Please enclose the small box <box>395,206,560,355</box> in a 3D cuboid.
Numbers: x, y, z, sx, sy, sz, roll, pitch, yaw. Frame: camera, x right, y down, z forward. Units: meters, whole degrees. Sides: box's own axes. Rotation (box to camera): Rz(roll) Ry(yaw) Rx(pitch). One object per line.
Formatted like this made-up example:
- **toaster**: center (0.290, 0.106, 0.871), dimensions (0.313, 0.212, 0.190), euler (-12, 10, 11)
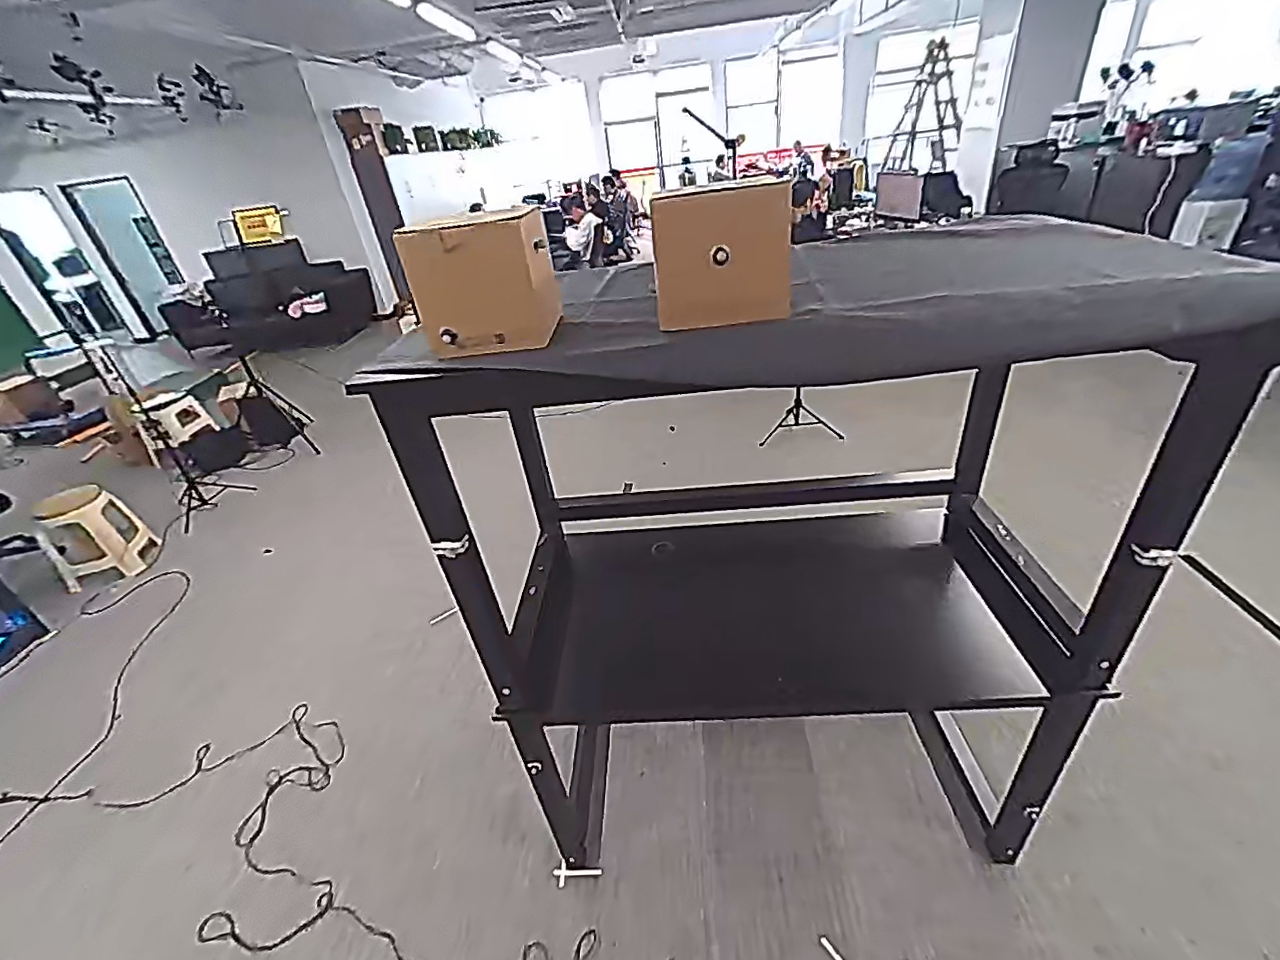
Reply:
- **small box**: center (-0.219, -0.287, 0.786), dimensions (0.168, 0.176, 0.179), euler (-5, 32, 4)
